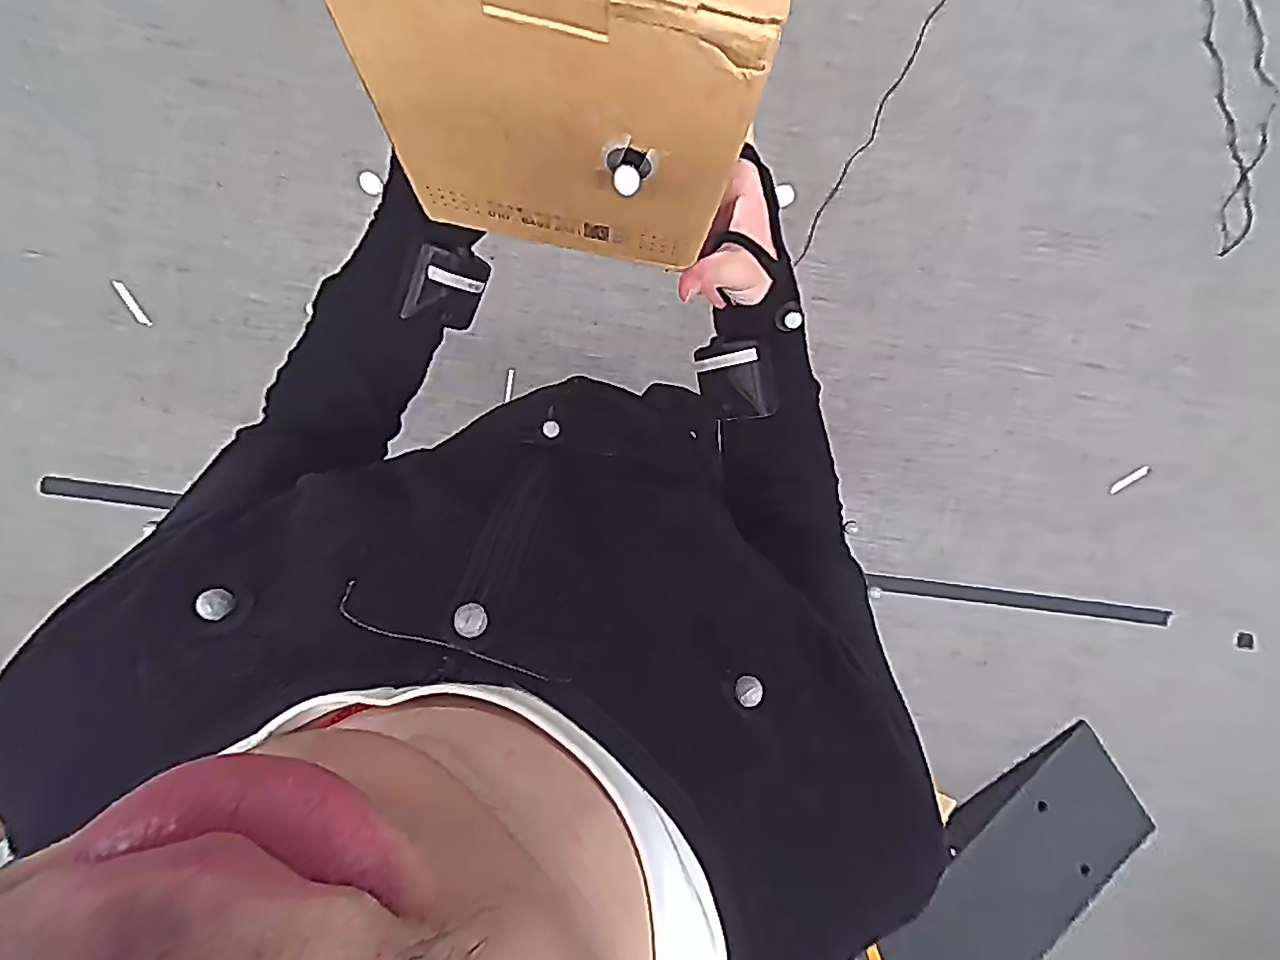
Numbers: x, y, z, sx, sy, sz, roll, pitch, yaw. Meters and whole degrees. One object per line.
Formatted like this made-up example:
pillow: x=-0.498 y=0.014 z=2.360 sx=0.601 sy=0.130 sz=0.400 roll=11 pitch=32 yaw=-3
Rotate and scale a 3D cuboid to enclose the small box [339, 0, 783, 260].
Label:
small box: x=-0.025 y=-0.242 z=0.274 sx=0.168 sy=0.176 sz=0.179 roll=10 pitch=82 yaw=-6
